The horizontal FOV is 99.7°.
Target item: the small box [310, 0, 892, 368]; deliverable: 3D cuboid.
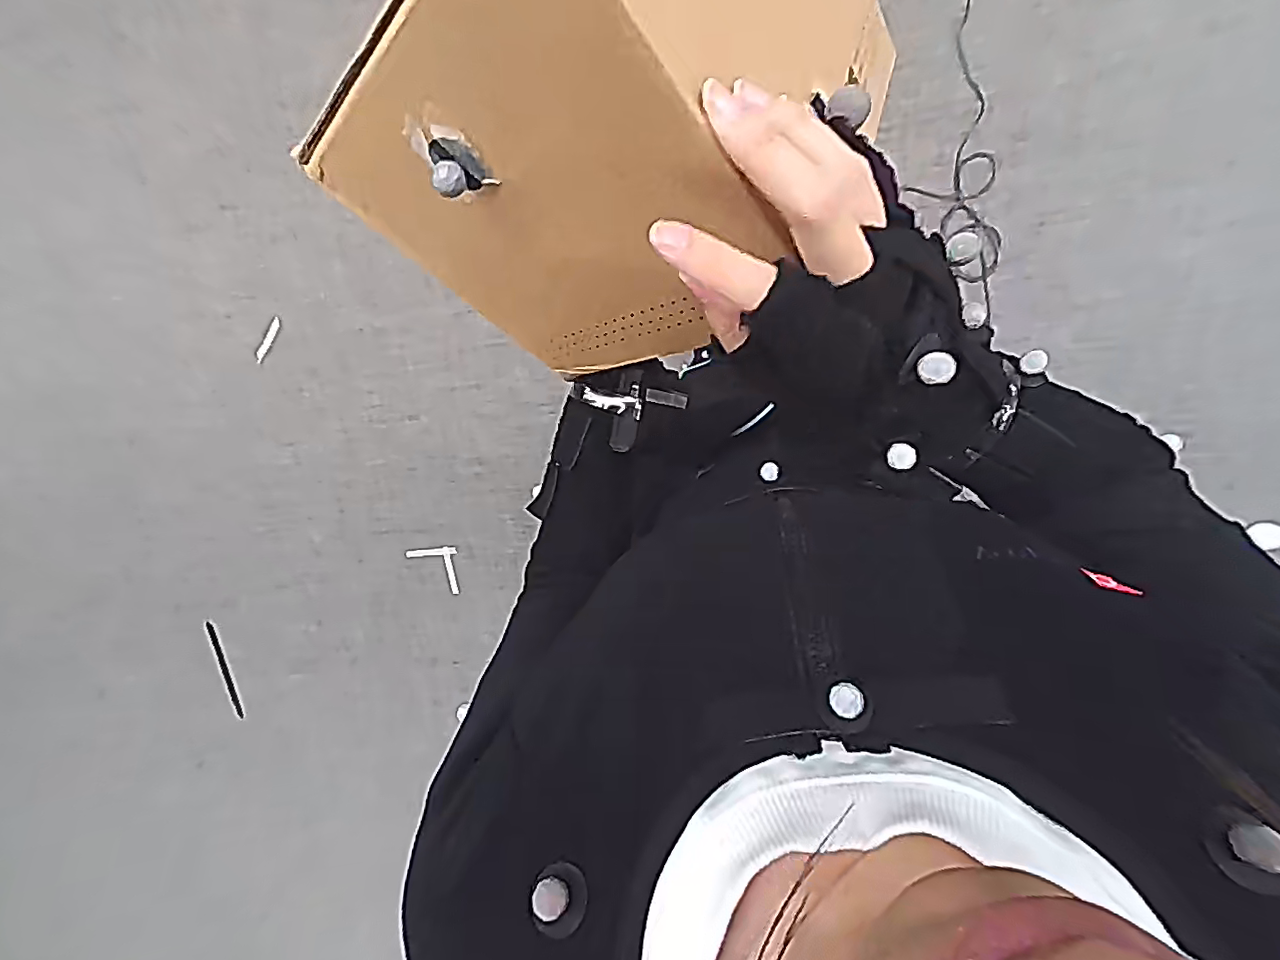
[{"bbox_3d":[-0.010,-0.171,0.256,0.179,0.176,0.168,1,64,46],"label":"small box"}]
